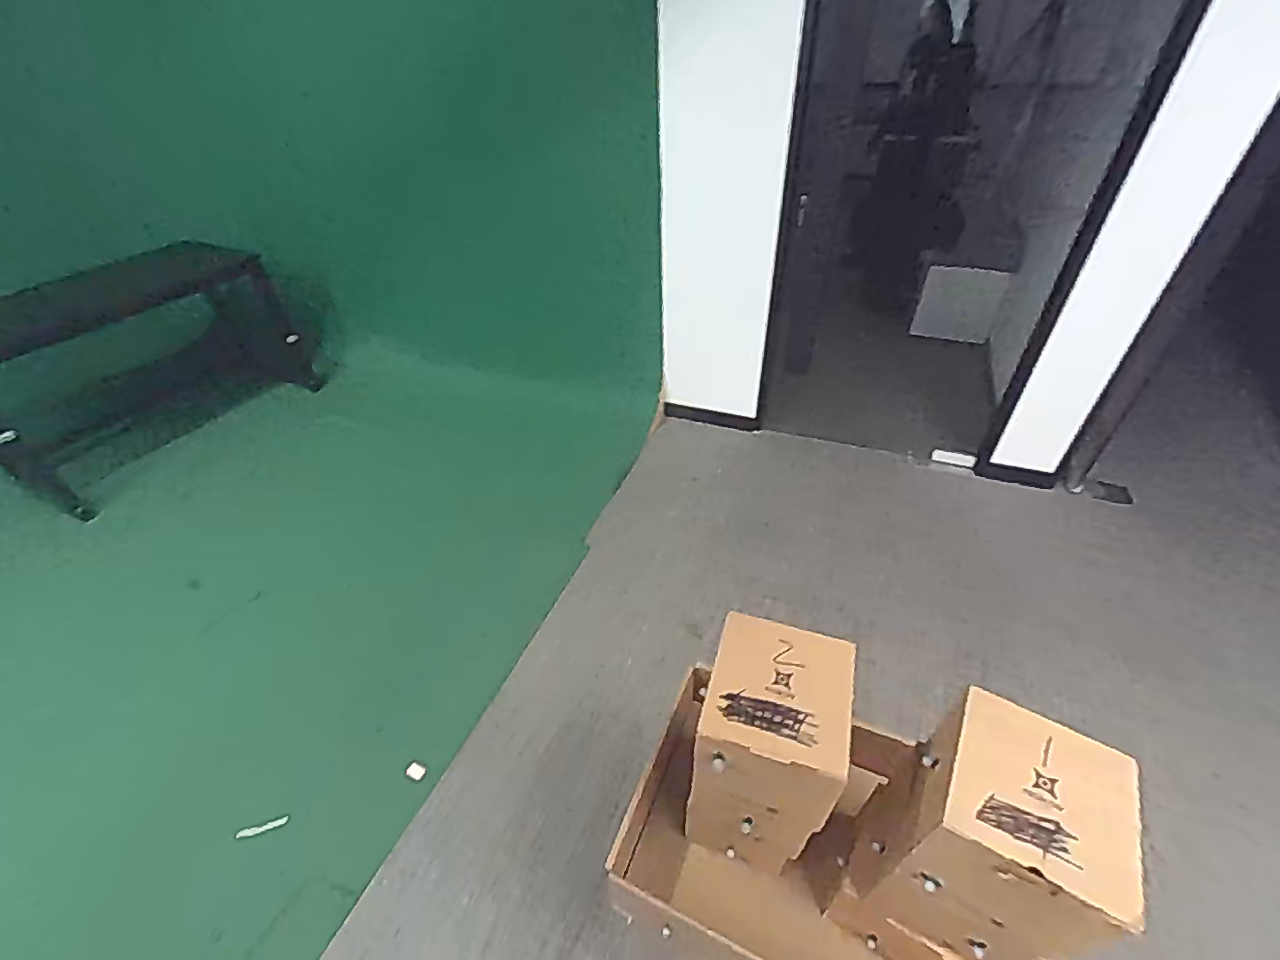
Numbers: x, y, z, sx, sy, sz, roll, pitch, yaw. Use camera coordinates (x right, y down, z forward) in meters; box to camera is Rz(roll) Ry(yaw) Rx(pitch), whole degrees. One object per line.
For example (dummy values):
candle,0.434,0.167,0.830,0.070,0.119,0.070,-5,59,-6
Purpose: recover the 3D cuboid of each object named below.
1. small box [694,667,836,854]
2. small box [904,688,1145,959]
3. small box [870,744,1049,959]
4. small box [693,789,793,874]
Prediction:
small box,0.185,0.423,0.815,0.168,0.176,0.179,13,45,17
small box,0.415,0.381,0.603,0.168,0.176,0.179,22,47,25
small box,0.420,0.500,0.715,0.168,0.176,0.179,20,46,24
small box,0.190,0.534,0.936,0.168,0.176,0.179,12,44,18
